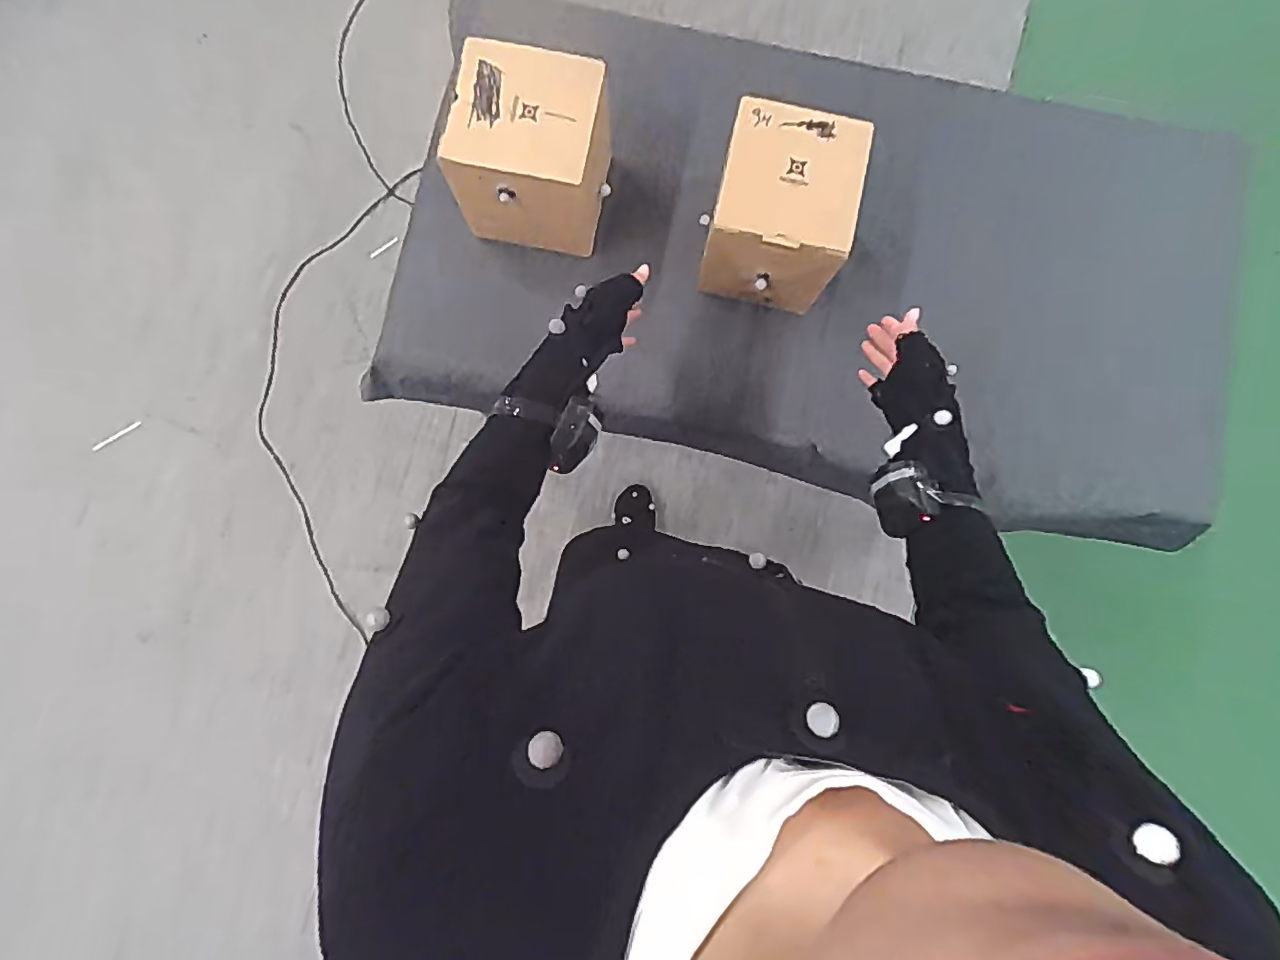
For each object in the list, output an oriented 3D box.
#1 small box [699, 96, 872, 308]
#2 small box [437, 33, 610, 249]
[{"bbox_3d":[0.180,-0.354,0.722,0.168,0.176,0.179,13,85,0],"label":"small box"},{"bbox_3d":[-0.141,-0.436,0.722,0.179,0.176,0.168,11,84,-1],"label":"small box"}]
